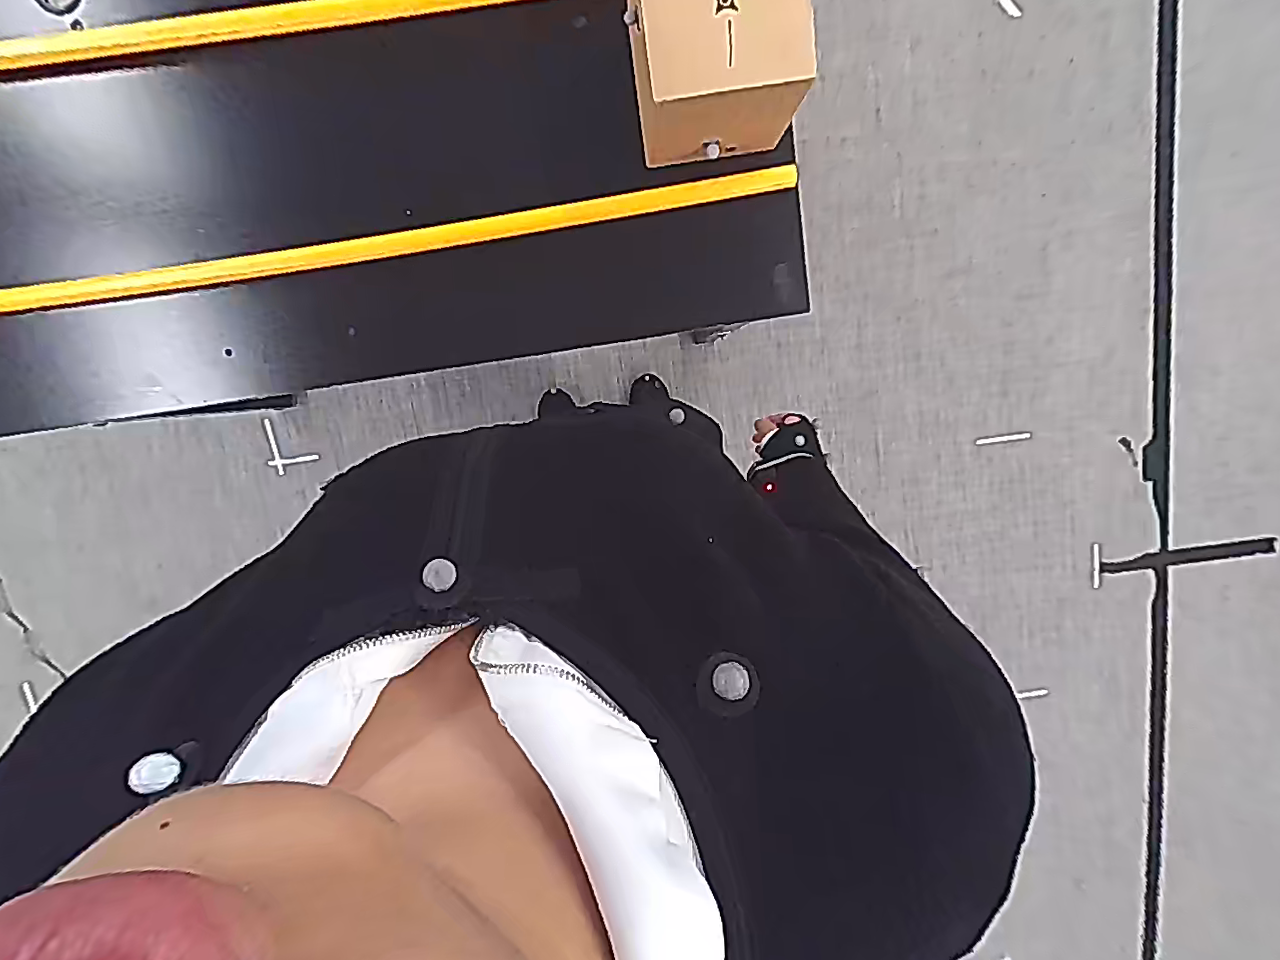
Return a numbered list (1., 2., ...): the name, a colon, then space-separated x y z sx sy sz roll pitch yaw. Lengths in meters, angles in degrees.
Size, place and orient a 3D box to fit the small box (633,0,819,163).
1. small box: 0.083 -0.484 0.595 0.168 0.176 0.179 -8 101 1
